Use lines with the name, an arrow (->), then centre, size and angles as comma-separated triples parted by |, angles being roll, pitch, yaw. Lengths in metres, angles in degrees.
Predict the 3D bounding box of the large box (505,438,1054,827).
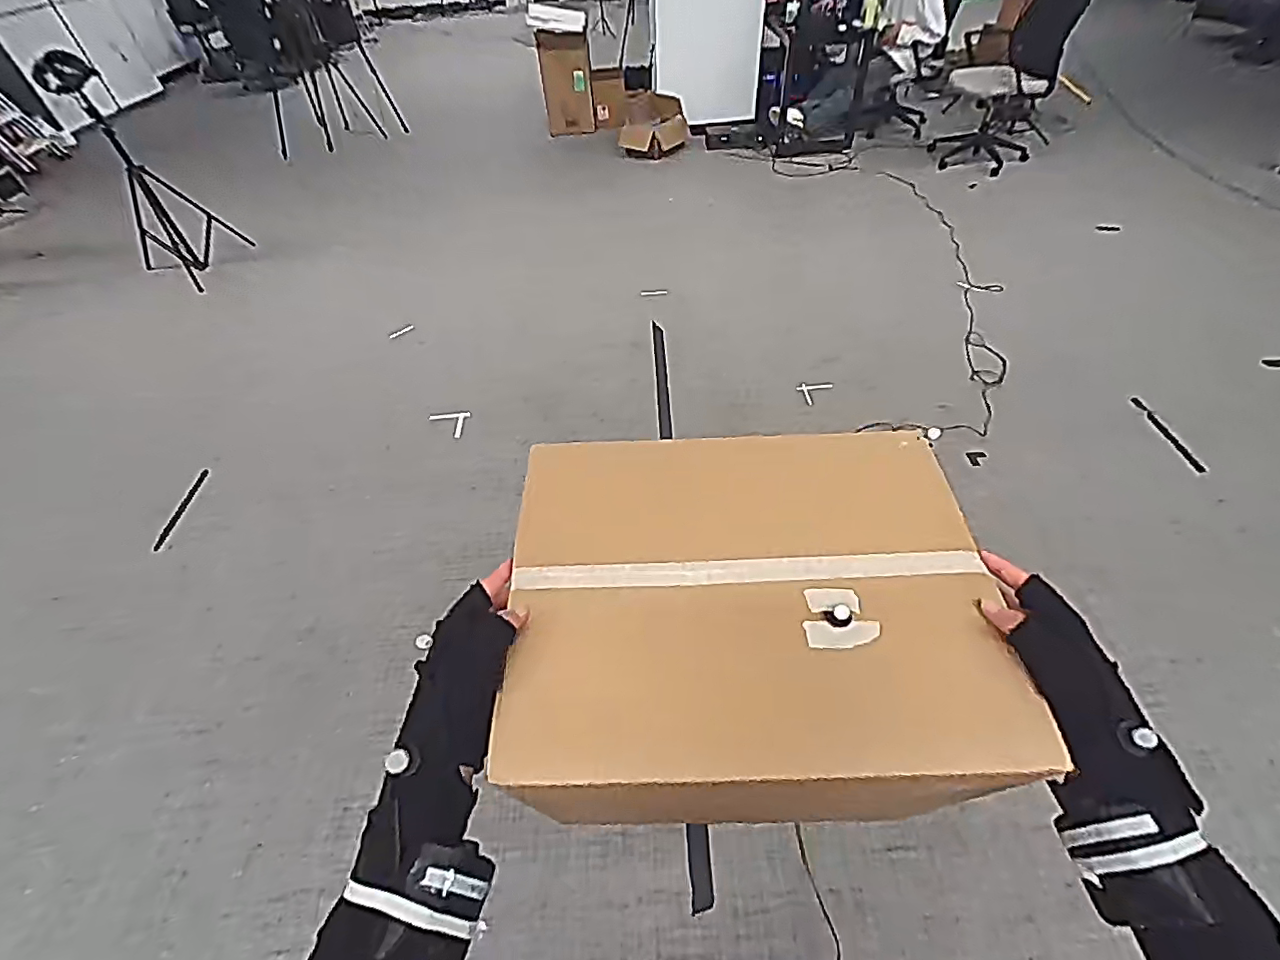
large box -> 0.097, 0.176, 0.591 | 0.408, 0.320, 0.320 | -2, 53, 0
